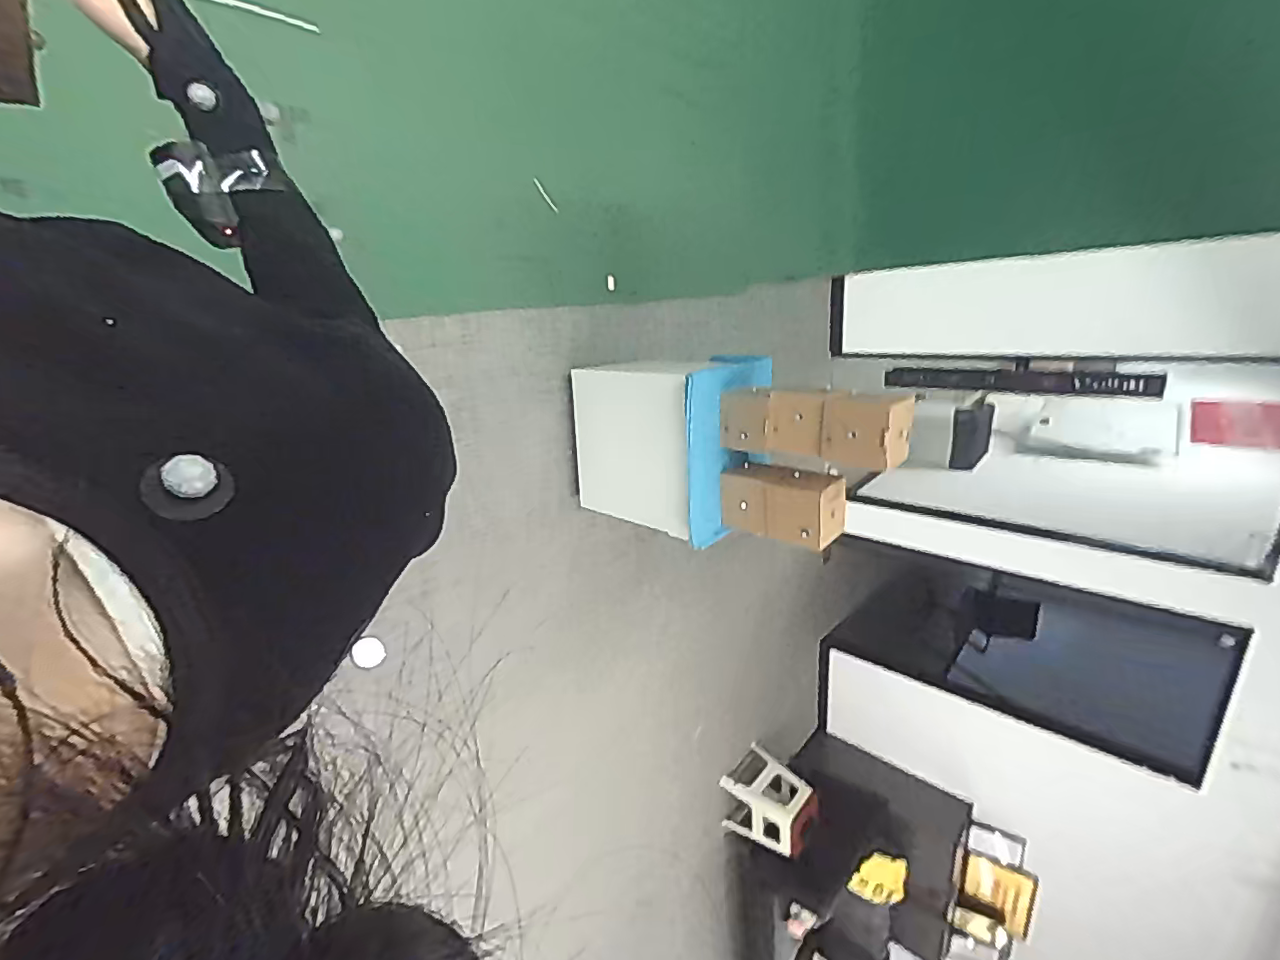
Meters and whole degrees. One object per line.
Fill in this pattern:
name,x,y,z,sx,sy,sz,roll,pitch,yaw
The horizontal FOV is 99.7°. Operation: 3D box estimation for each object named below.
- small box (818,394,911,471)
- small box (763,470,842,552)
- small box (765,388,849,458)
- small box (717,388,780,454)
small box,0.576,-0.128,1.394,0.179,0.176,0.168,-18,114,-45
small box,0.470,0.083,1.573,0.168,0.176,0.179,-24,116,-43
small box,0.462,-0.165,1.507,0.179,0.176,0.168,-18,114,-45
small box,0.344,-0.182,1.617,0.179,0.176,0.168,-19,115,-44
